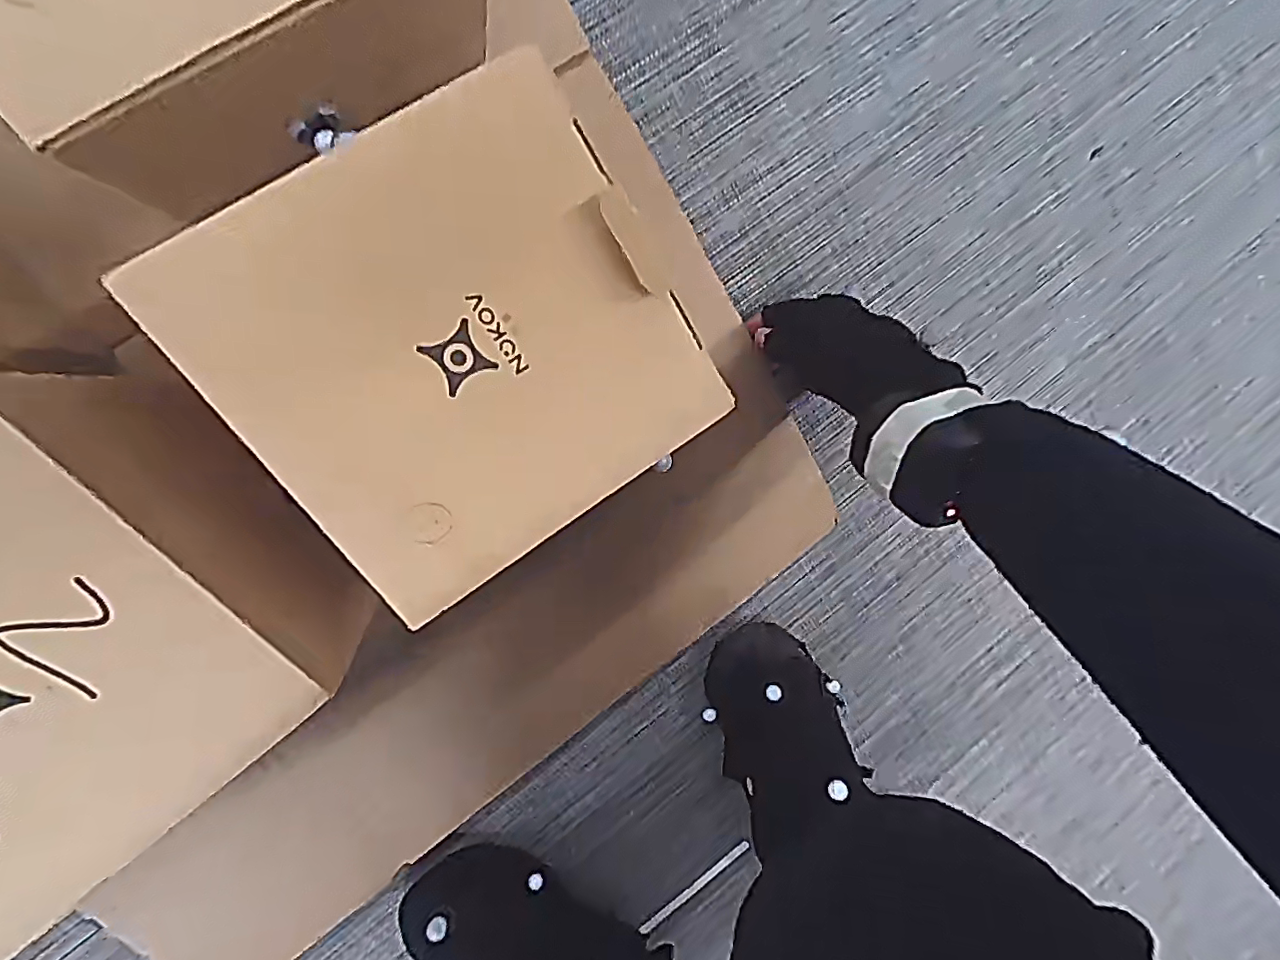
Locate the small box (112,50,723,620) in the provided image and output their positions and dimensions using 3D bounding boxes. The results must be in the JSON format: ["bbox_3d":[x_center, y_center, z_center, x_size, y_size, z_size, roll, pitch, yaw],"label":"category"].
[{"bbox_3d":[-0.092,-0.065,0.292,0.179,0.176,0.168,-34,108,-8],"label":"small box"}]
